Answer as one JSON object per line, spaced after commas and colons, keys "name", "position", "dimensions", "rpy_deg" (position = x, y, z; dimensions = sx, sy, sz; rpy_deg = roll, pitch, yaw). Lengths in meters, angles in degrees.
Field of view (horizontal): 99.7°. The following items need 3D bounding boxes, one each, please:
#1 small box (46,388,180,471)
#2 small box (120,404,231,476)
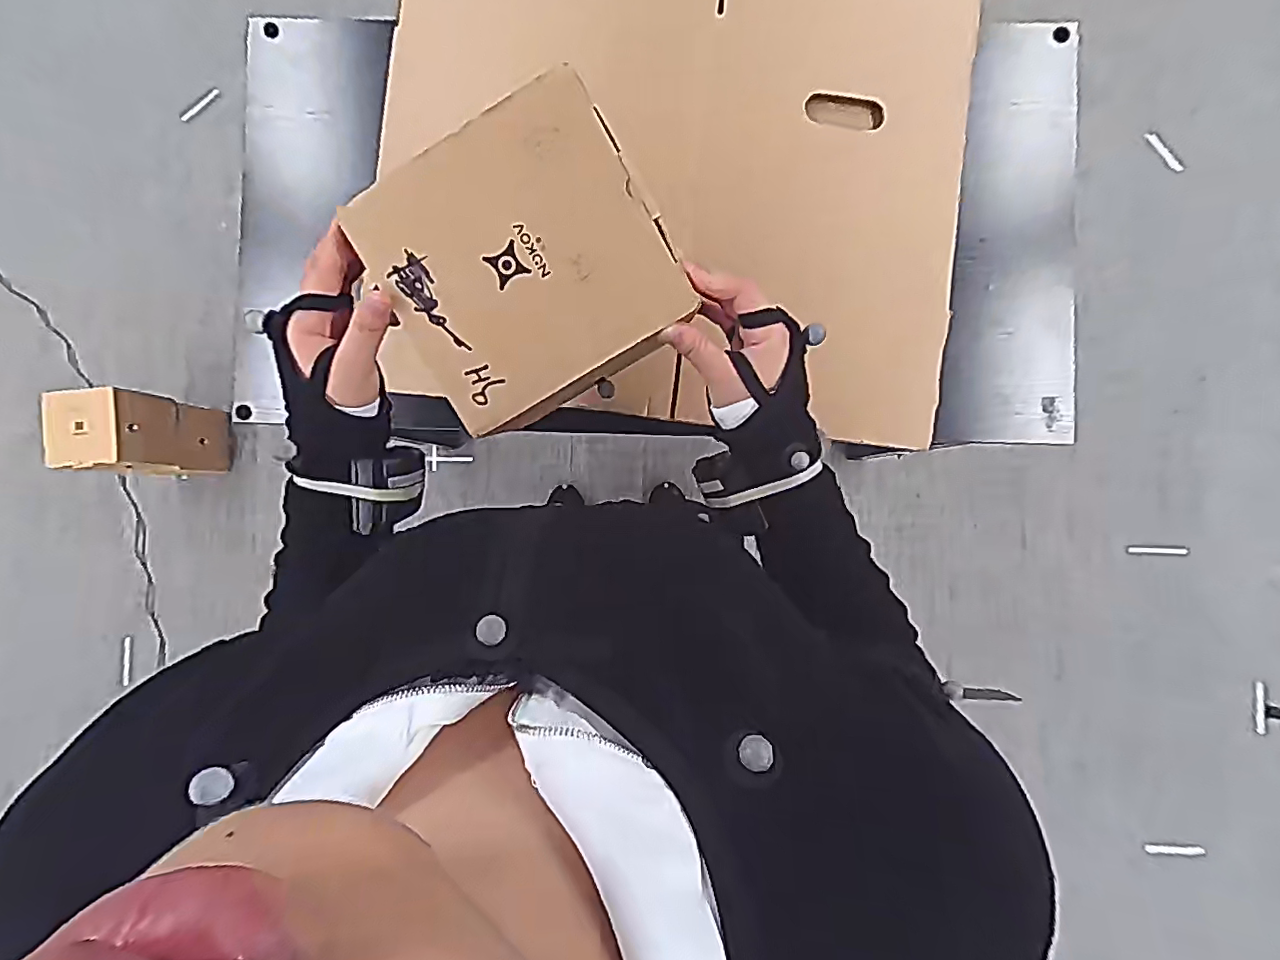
{"name": "small box", "position": [-1.253, -0.114, 1.297], "dimensions": [0.168, 0.176, 0.179], "rpy_deg": [-5, 88, 1]}
{"name": "small box", "position": [-1.248, -0.103, 1.460], "dimensions": [0.168, 0.176, 0.179], "rpy_deg": [-3, 89, 1]}
